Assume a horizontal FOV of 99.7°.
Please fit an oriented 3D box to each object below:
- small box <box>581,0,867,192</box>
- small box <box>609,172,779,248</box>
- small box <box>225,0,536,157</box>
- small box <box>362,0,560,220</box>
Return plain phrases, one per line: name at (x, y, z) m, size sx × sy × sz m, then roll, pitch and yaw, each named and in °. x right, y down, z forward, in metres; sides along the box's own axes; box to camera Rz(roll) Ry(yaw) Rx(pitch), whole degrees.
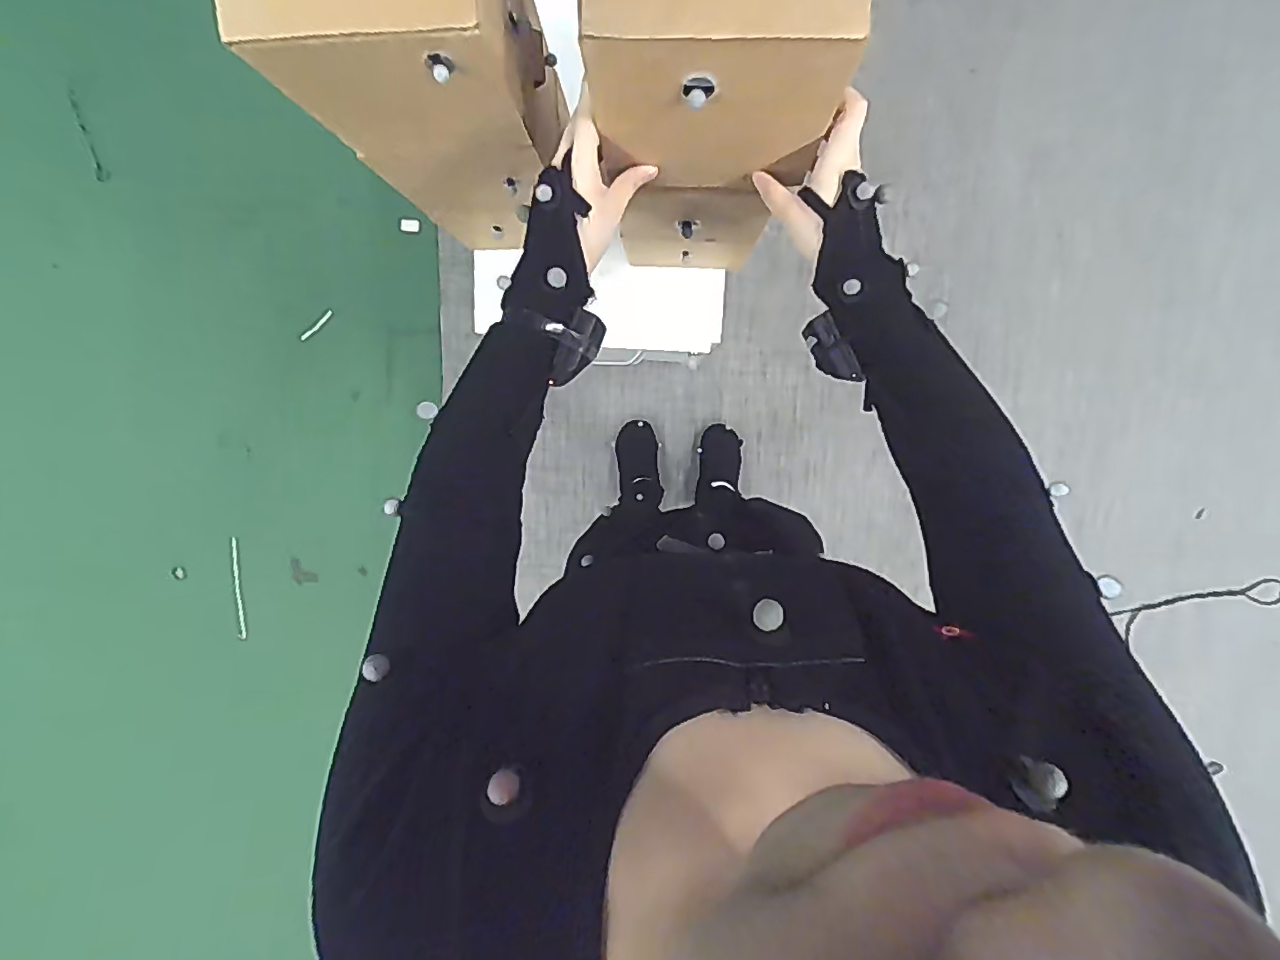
small box at (0.057, -0.342, 0.410) m, size 0.179 × 0.176 × 0.168 m, roll 2°, pitch 91°, yaw 2°
small box at (0.060, -0.361, 0.585) m, size 0.168 × 0.176 × 0.179 m, roll 3°, pitch 99°, yaw 2°
small box at (-0.190, -0.379, 0.429) m, size 0.179 × 0.176 × 0.168 m, roll -3°, pitch 98°, yaw 1°
small box at (-0.186, -0.399, 0.591) m, size 0.179 × 0.176 × 0.168 m, roll -3°, pitch 98°, yaw 2°
